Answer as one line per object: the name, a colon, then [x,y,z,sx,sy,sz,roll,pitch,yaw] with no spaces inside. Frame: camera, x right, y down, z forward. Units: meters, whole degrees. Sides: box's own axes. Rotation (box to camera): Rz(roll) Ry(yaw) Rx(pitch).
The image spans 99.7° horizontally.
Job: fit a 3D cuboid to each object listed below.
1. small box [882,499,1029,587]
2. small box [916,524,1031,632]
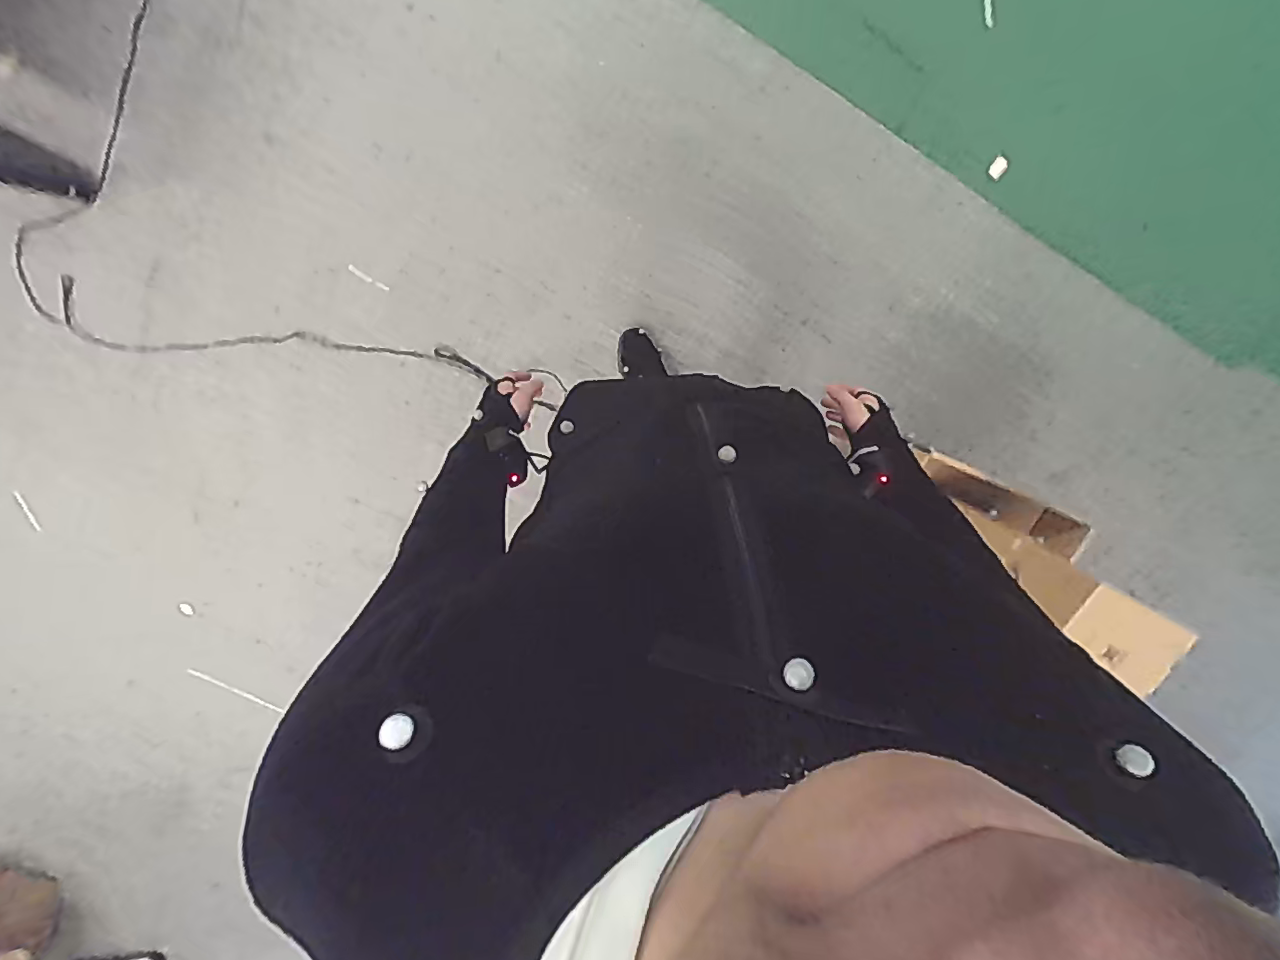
small box: [0.654,0.154,1.147,0.179,0.176,0.168,23,104,-6]
small box: [0.651,0.199,0.989,0.179,0.176,0.168,27,104,-7]
